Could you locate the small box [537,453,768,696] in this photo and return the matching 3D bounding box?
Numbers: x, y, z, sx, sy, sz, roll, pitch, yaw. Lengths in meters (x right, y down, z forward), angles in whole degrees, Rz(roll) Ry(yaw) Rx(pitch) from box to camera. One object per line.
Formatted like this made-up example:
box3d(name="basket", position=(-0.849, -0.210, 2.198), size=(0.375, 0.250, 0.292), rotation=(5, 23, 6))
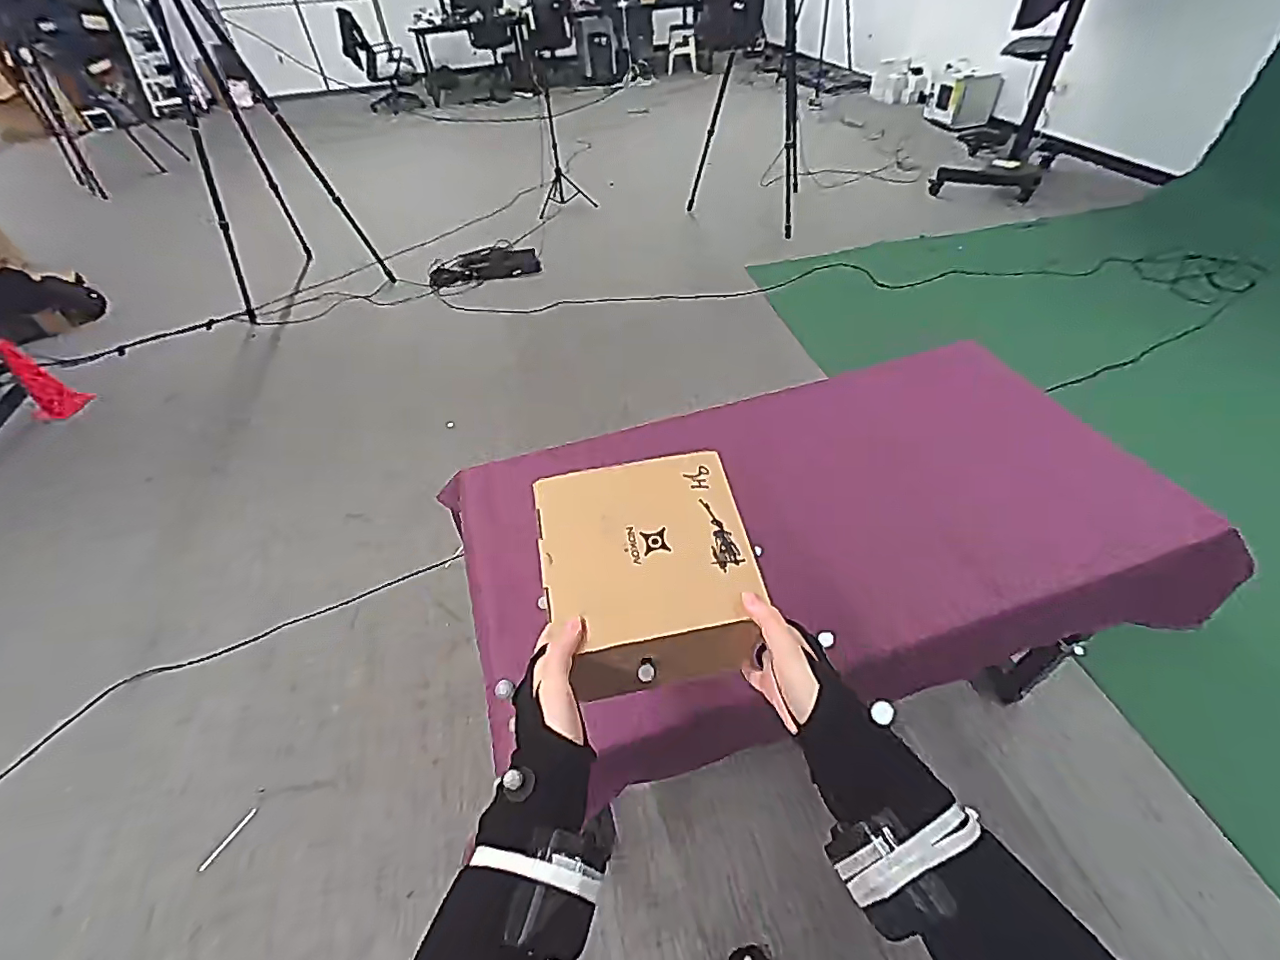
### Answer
box3d(name="small box", position=(0.007, 0.099, 0.531), size=(0.179, 0.176, 0.168), rotation=(-10, 57, -5))
